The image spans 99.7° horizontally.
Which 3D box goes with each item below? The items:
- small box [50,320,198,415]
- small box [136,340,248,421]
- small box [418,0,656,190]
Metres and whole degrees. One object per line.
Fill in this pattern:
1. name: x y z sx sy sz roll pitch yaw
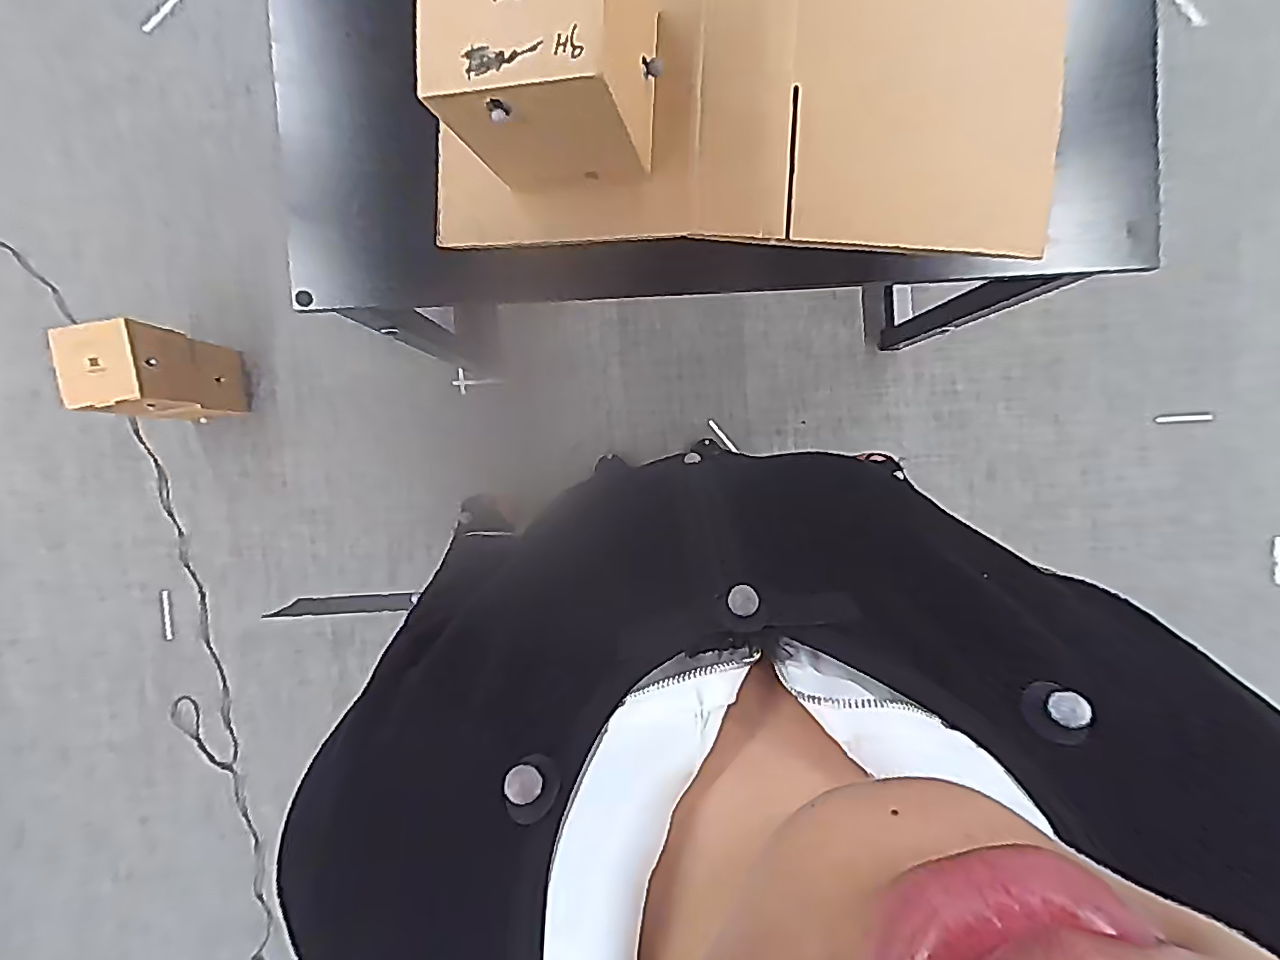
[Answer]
1. small box: -1.156 -0.247 1.228 0.168 0.176 0.179 -10 92 -1
2. small box: -1.155 -0.250 1.391 0.168 0.176 0.179 -7 94 0
3. small box: -0.083 -0.404 0.507 0.168 0.176 0.179 3 93 14
